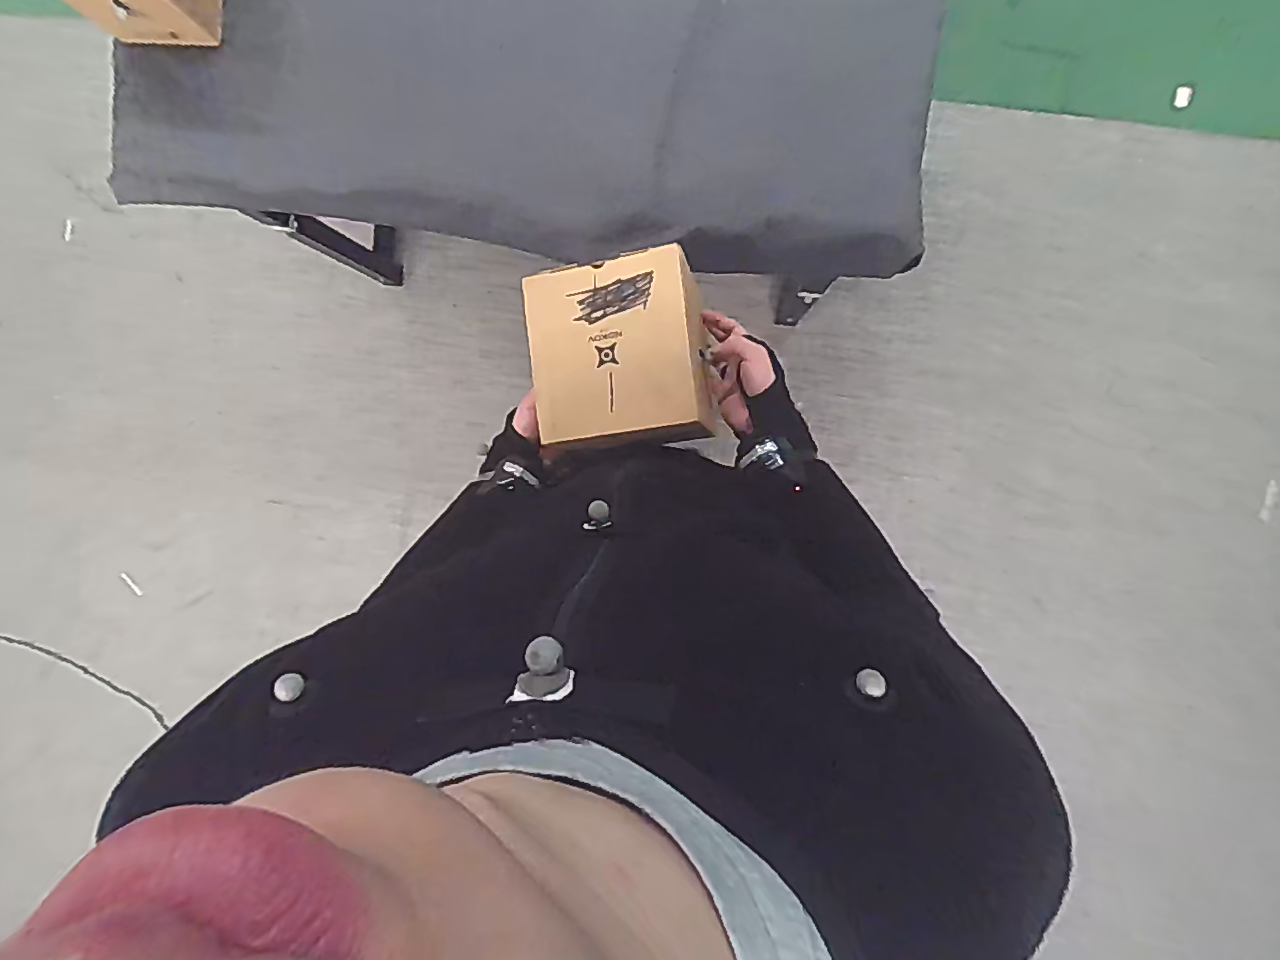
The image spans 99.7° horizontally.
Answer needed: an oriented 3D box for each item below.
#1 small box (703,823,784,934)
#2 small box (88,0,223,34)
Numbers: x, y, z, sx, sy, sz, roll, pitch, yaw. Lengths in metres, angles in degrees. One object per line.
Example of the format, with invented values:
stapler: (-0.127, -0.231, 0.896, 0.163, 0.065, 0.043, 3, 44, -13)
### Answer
small box: (0.291, 1.138, 1.562, 0.179, 0.176, 0.168, 20, 95, 3)
small box: (-0.709, -0.756, 0.736, 0.168, 0.176, 0.179, 5, 96, 3)
